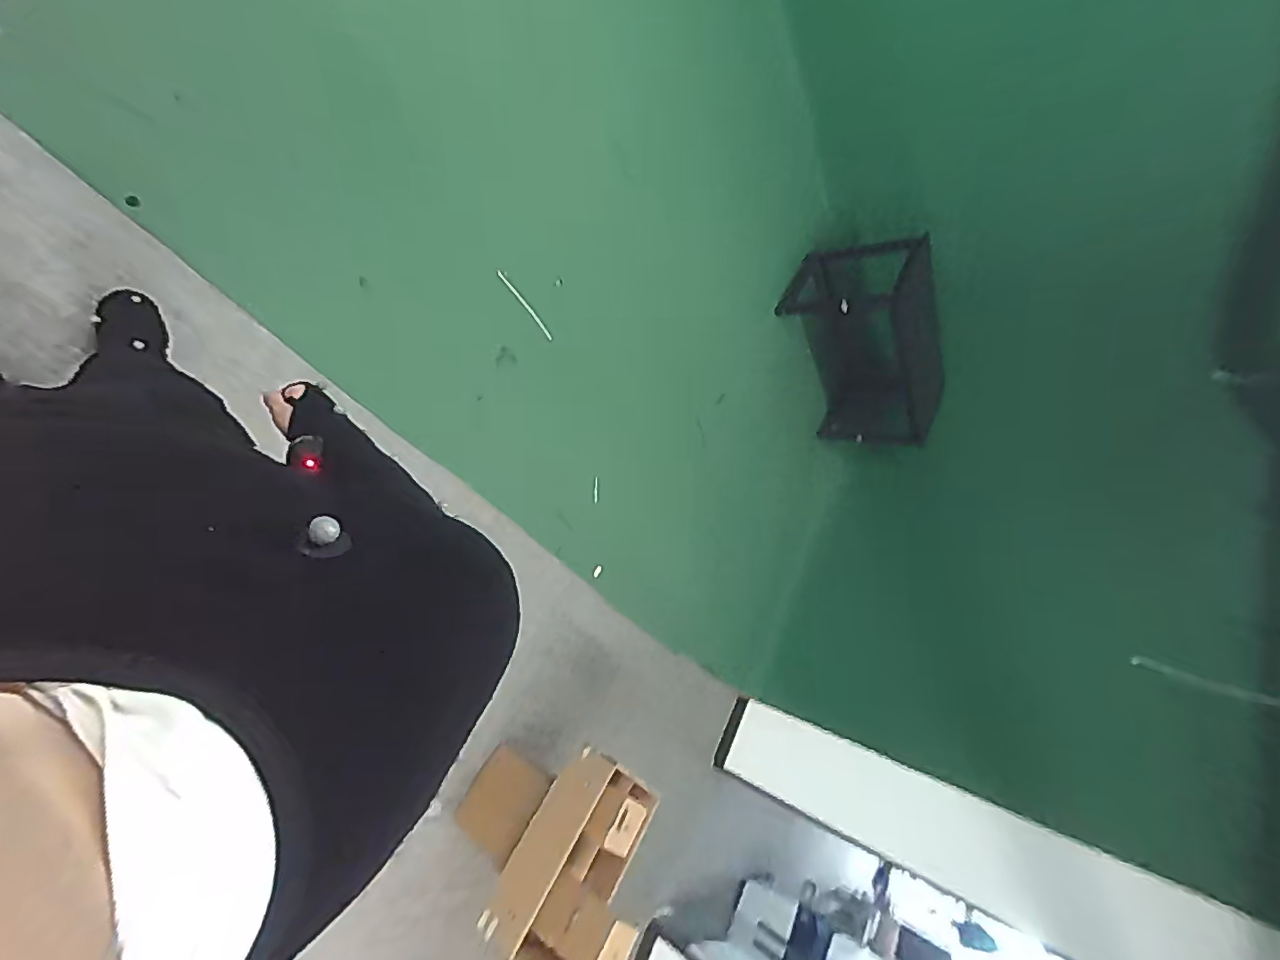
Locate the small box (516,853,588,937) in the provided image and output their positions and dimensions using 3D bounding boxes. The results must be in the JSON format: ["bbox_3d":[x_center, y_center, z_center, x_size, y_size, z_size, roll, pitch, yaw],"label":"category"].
[{"bbox_3d":[-0.276,1.393,1.806,0.168,0.176,0.179,-53,133,-29],"label":"small box"}]

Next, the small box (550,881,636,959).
[{"bbox_3d":[-0.149,1.411,1.705,0.168,0.176,0.179,-54,134,-29],"label":"small box"}]
